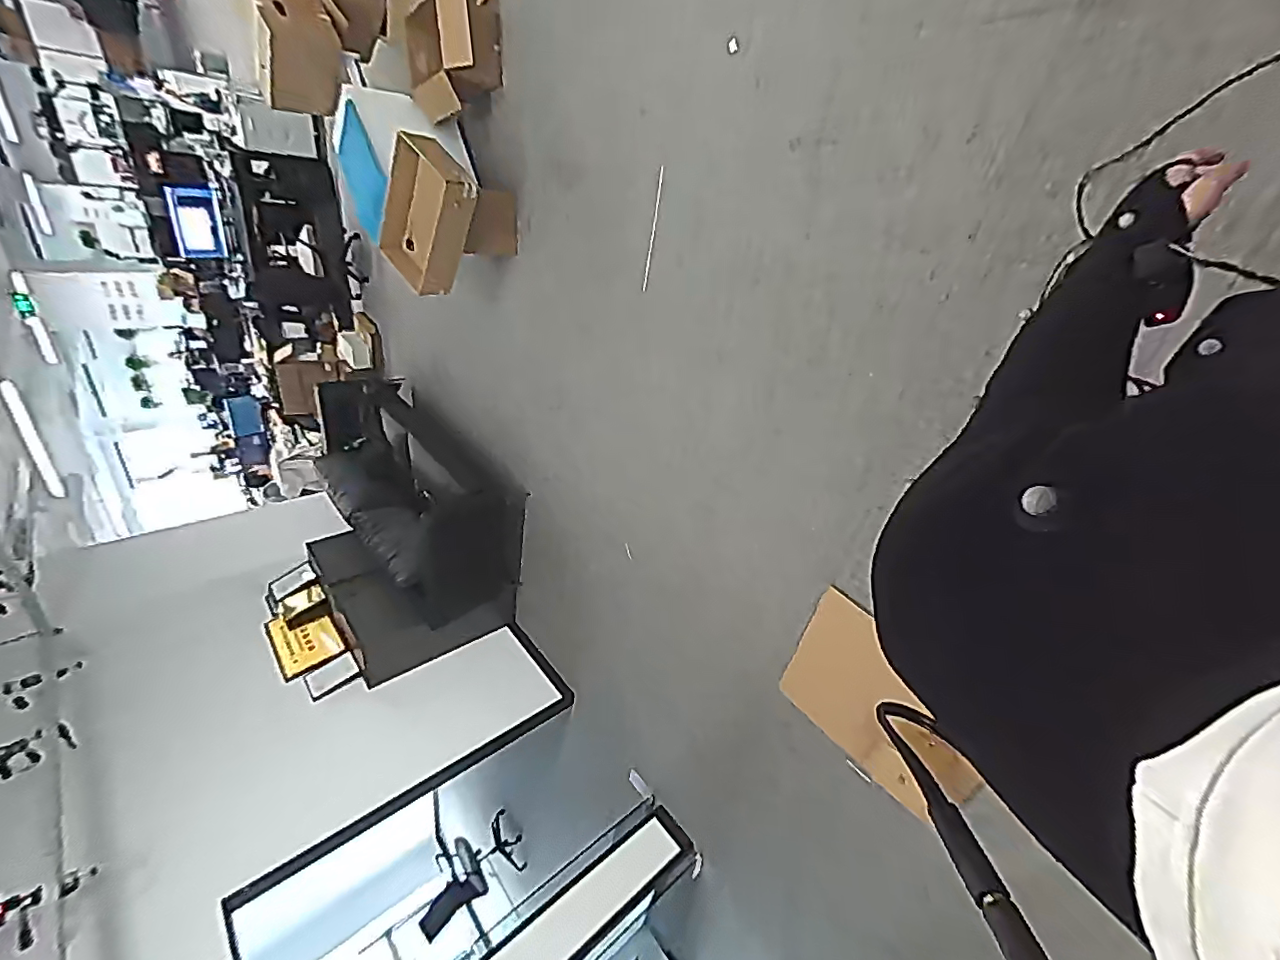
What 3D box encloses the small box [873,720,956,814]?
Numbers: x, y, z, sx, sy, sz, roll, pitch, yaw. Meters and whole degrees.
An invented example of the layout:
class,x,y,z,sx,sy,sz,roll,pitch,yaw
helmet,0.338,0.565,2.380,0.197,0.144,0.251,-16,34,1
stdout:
class,x,y,z,sx,sy,sz,roll,pitch,yaw
small box,0.910,0.942,1.785,0.168,0.176,0.179,32,127,39
